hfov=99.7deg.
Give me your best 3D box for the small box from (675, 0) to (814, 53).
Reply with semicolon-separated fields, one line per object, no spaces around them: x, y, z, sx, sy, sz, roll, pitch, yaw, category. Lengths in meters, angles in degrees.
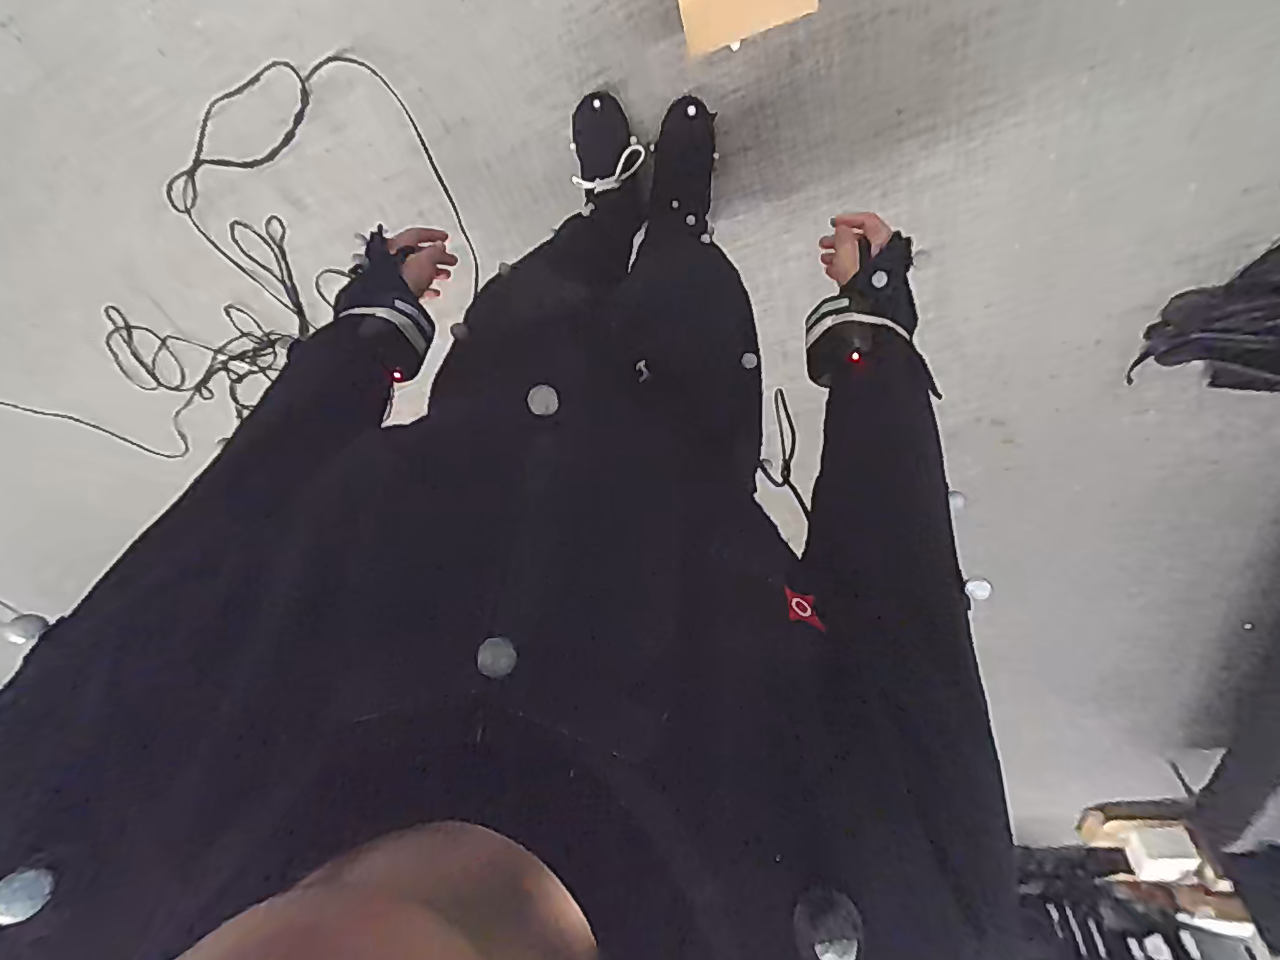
0.121;-0.683;0.683;0.168;0.176;0.179;-10;131;16;small box
